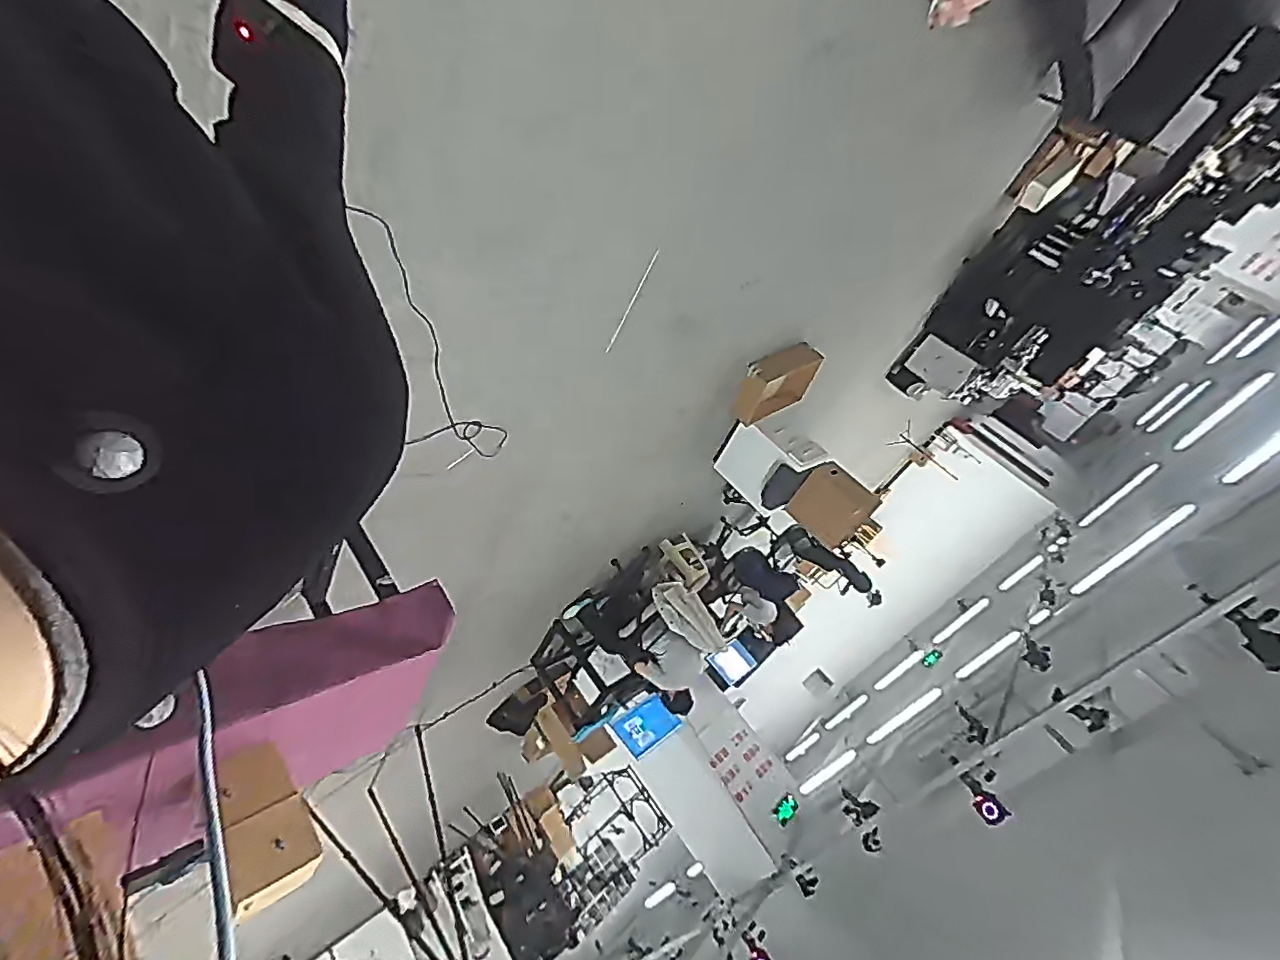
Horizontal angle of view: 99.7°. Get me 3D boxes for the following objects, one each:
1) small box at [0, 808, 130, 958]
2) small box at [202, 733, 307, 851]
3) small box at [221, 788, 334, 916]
[{"bbox_3d":[-1.206,0.831,1.134,0.168,0.176,0.179,-9,140,-52],"label":"small box"},{"bbox_3d":[-0.998,0.796,1.395,0.179,0.176,0.168,-10,141,-51],"label":"small box"},{"bbox_3d":[-0.892,0.905,1.330,0.179,0.176,0.168,-10,140,-51],"label":"small box"}]
